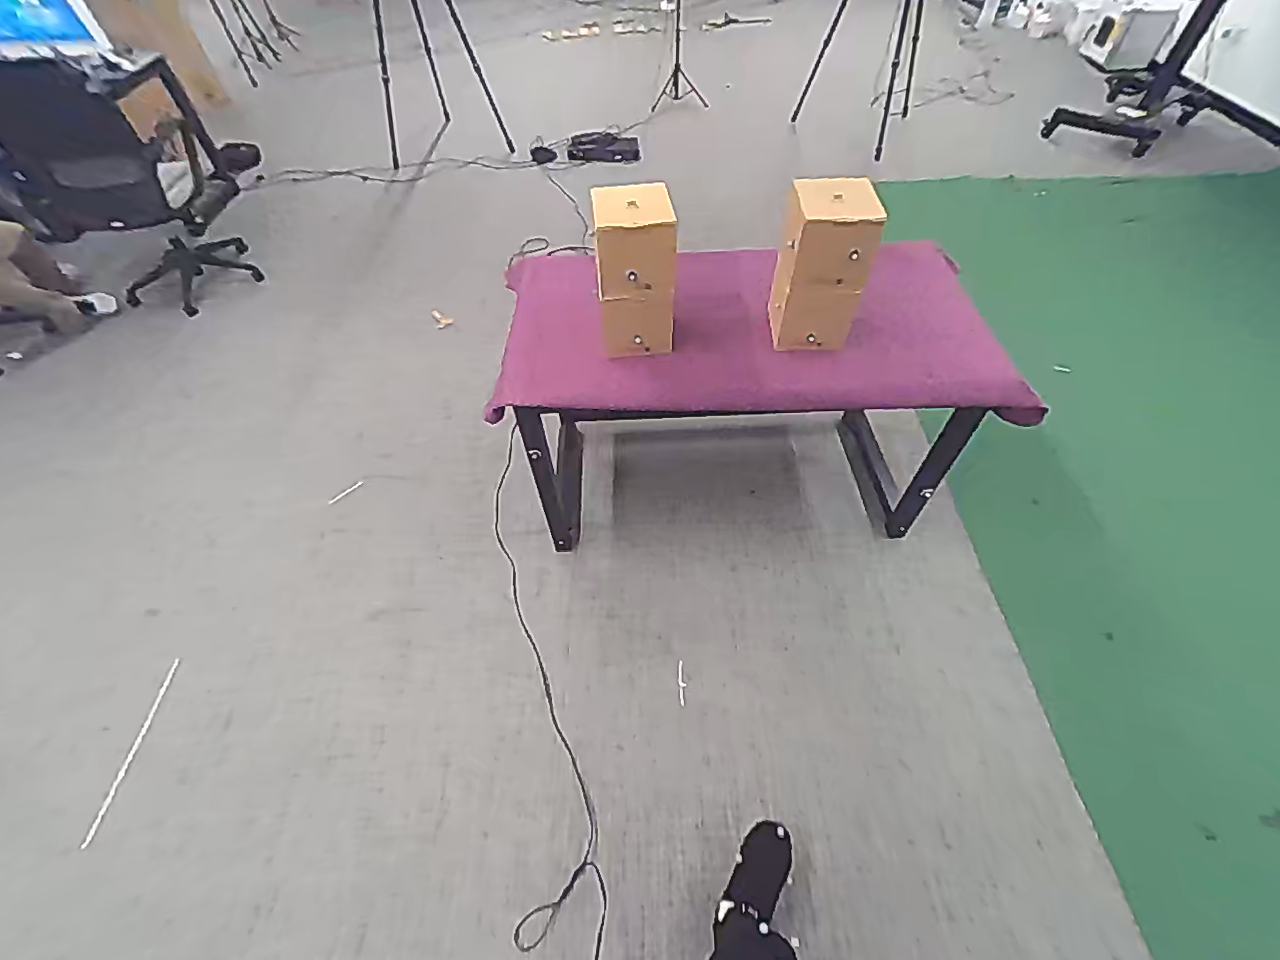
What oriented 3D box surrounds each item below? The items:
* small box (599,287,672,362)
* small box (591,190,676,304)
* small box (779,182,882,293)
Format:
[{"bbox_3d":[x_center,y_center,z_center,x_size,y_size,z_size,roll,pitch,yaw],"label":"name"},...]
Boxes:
[{"bbox_3d":[-0.014,-0.414,1.328,0.168,0.176,0.179,-5,52,-1],"label":"small box"},{"bbox_3d":[-0.017,-0.517,1.202,0.168,0.176,0.179,-7,53,-3],"label":"small box"},{"bbox_3d":[0.409,-0.528,1.190,0.168,0.176,0.179,0,53,2],"label":"small box"}]
